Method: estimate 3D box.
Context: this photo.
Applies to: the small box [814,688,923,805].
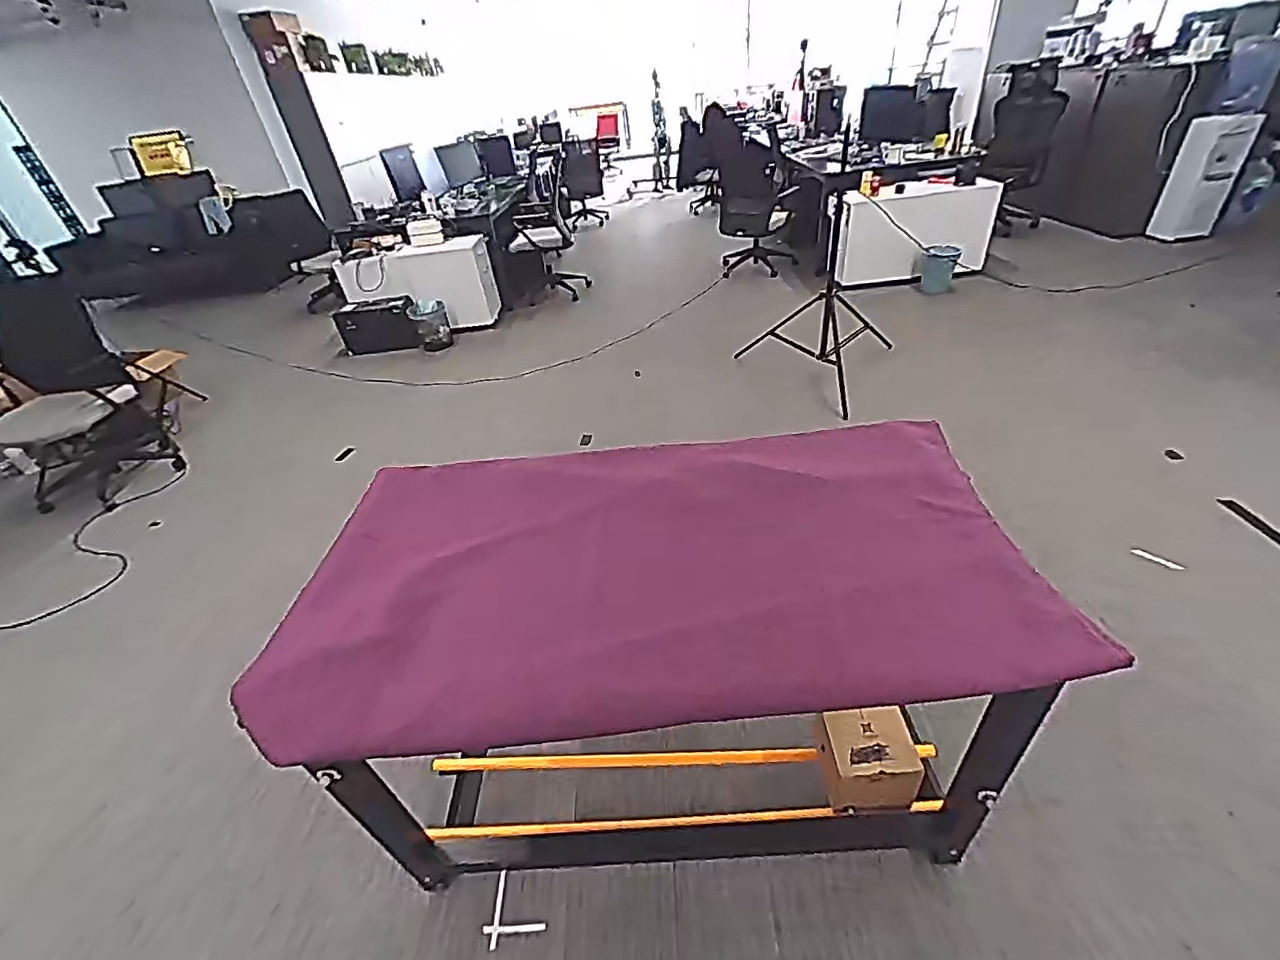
[{"bbox_3d":[0.481,0.577,1.164,0.168,0.176,0.179,-6,36,4],"label":"small box"}]
